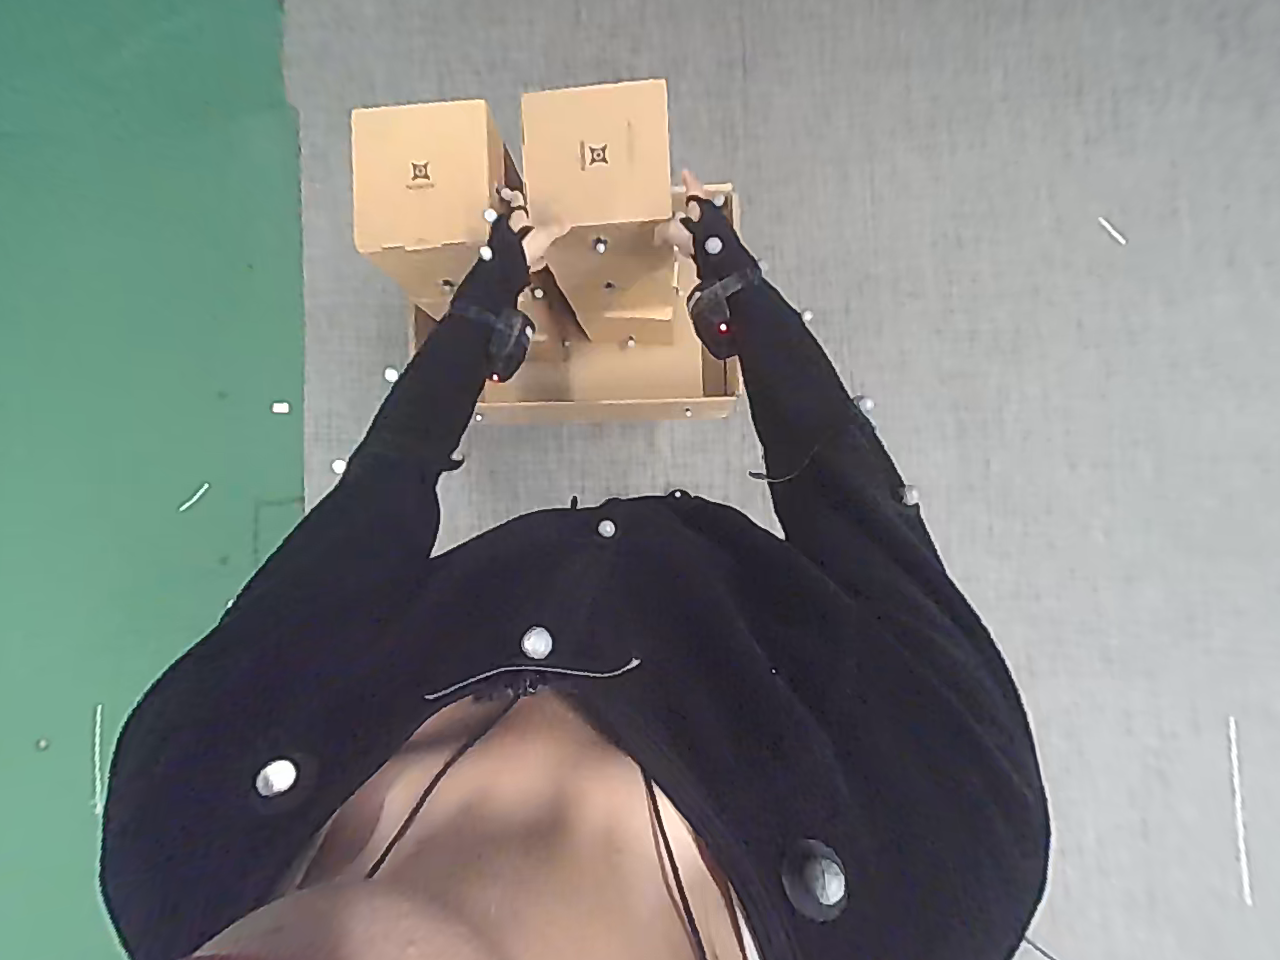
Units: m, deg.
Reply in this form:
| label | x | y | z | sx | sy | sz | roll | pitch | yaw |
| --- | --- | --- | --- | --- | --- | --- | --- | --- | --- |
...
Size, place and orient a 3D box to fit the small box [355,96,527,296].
| label | x | y | z | sx | sy | sz | roll | pitch | yaw |
| --- | --- | --- | --- | --- | --- | --- | --- | --- | --- |
| small box | -0.254 | -0.364 | 0.721 | 0.168 | 0.176 | 0.179 | -3 | 89 | 3 |

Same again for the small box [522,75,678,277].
| label | x | y | z | sx | sy | sz | roll | pitch | yaw |
| --- | --- | --- | --- | --- | --- | --- | --- | --- | --- |
| small box | -0.043 | -0.379 | 0.706 | 0.179 | 0.176 | 0.168 | -2 | 89 | 5 |
